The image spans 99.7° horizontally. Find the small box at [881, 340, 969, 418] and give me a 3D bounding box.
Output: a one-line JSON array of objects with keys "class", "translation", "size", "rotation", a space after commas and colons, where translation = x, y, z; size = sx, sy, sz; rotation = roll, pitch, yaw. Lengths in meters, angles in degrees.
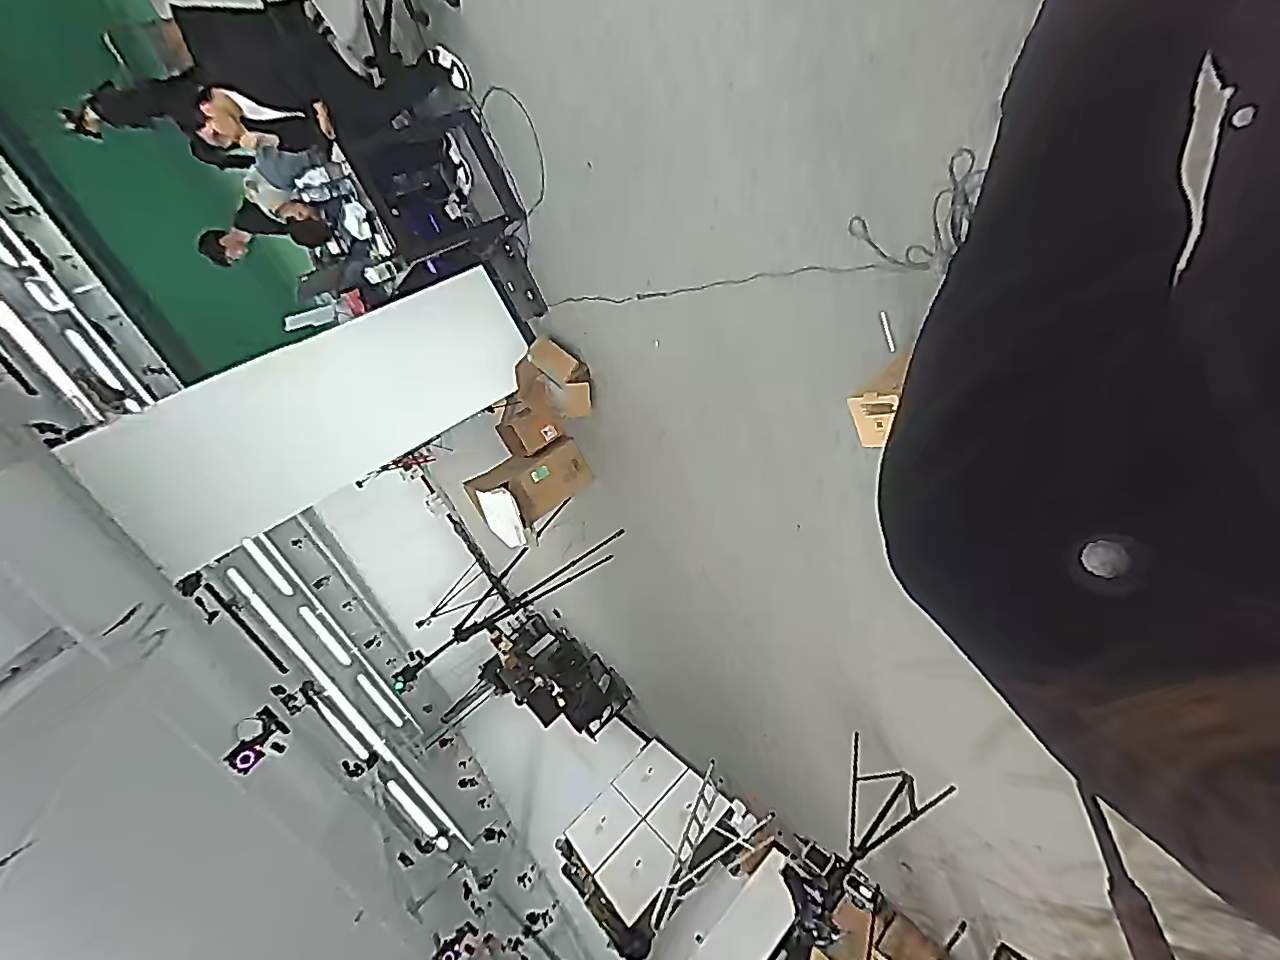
[{"class": "small box", "translation": [0.898, -0.314, 1.695], "size": [0.168, 0.176, 0.179], "rotation": [6, 128, 59]}]
